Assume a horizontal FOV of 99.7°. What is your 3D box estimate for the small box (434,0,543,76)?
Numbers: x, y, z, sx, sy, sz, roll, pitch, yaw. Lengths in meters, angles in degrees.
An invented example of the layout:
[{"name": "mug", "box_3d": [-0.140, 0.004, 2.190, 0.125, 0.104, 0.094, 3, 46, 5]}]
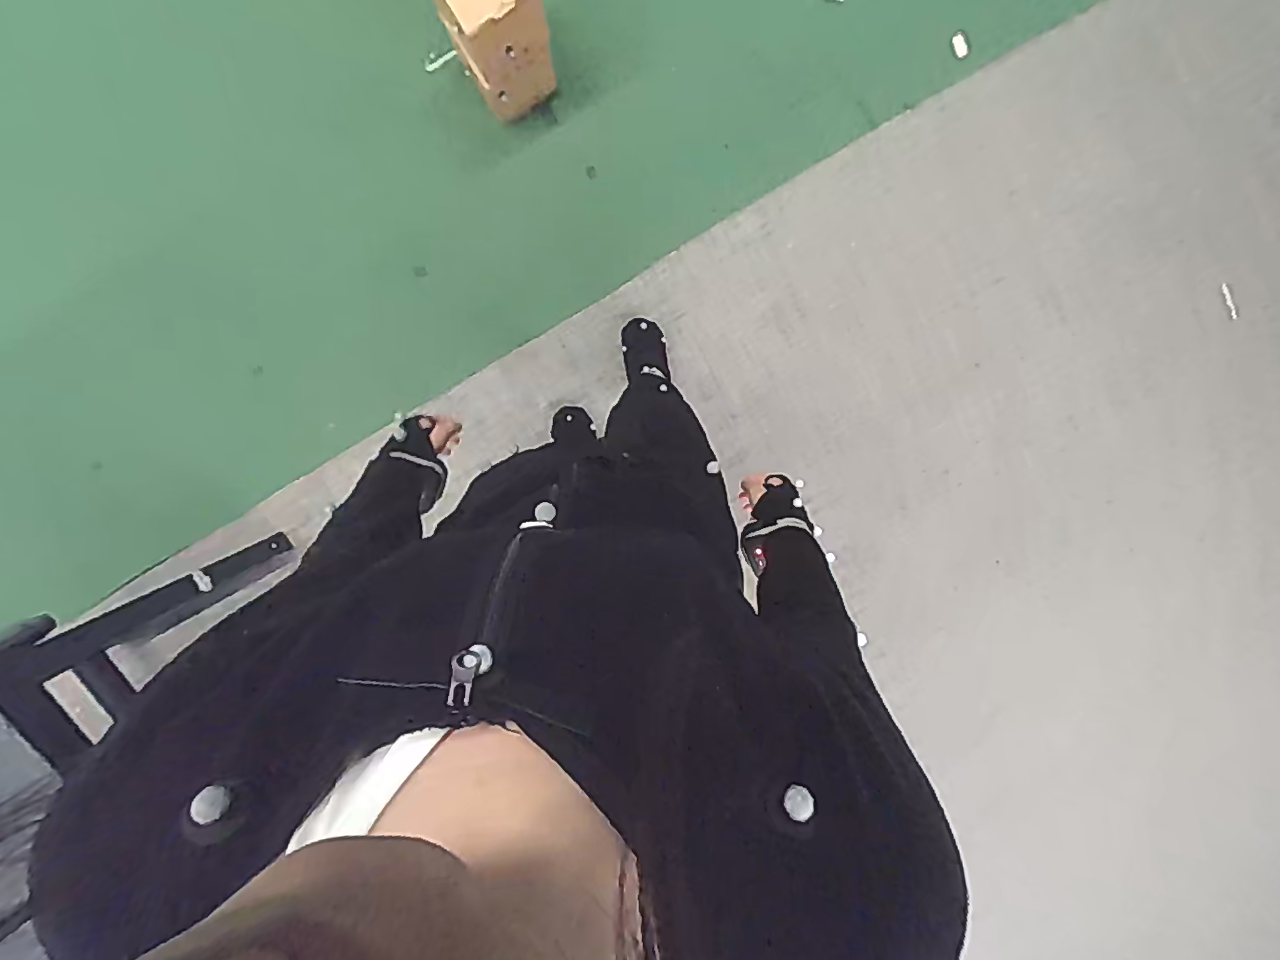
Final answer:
[{"name": "small box", "box_3d": [-0.307, -0.949, 1.047, 0.168, 0.176, 0.179, -34, 101, 3]}]
